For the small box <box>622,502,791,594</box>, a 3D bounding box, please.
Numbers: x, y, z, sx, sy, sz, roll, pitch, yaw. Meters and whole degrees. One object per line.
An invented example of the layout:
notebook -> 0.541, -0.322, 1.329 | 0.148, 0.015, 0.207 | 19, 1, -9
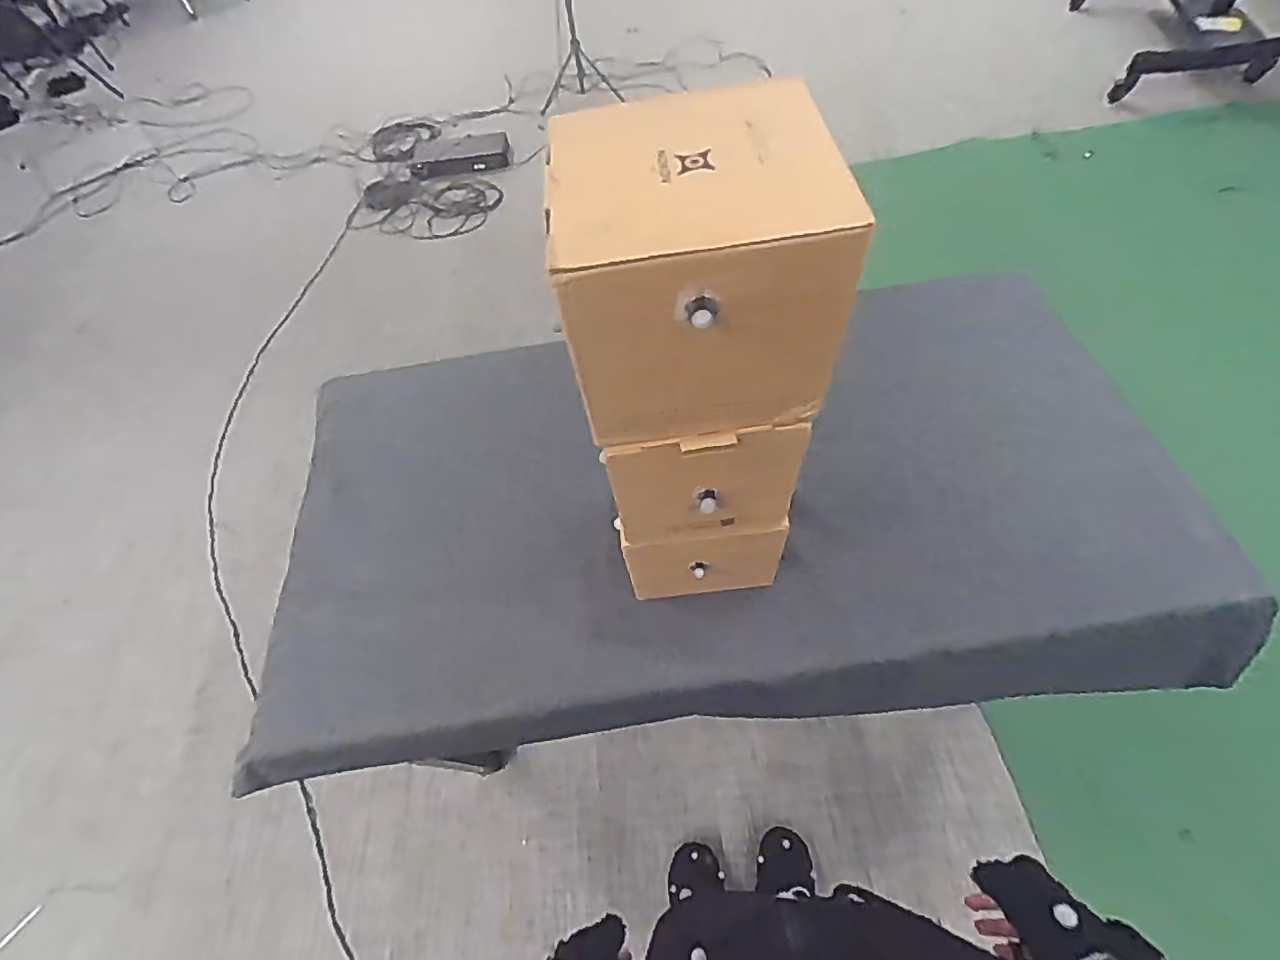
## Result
small box -> 0.071, 0.029, 0.665 | 0.179, 0.176, 0.168 | -8, 58, 3

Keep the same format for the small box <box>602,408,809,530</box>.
small box -> 0.053, -0.062, 0.531 | 0.168, 0.176, 0.179 | -8, 59, 2

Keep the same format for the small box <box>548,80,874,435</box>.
small box -> 0.039, -0.148, 0.393 | 0.179, 0.176, 0.168 | -7, 59, 1
